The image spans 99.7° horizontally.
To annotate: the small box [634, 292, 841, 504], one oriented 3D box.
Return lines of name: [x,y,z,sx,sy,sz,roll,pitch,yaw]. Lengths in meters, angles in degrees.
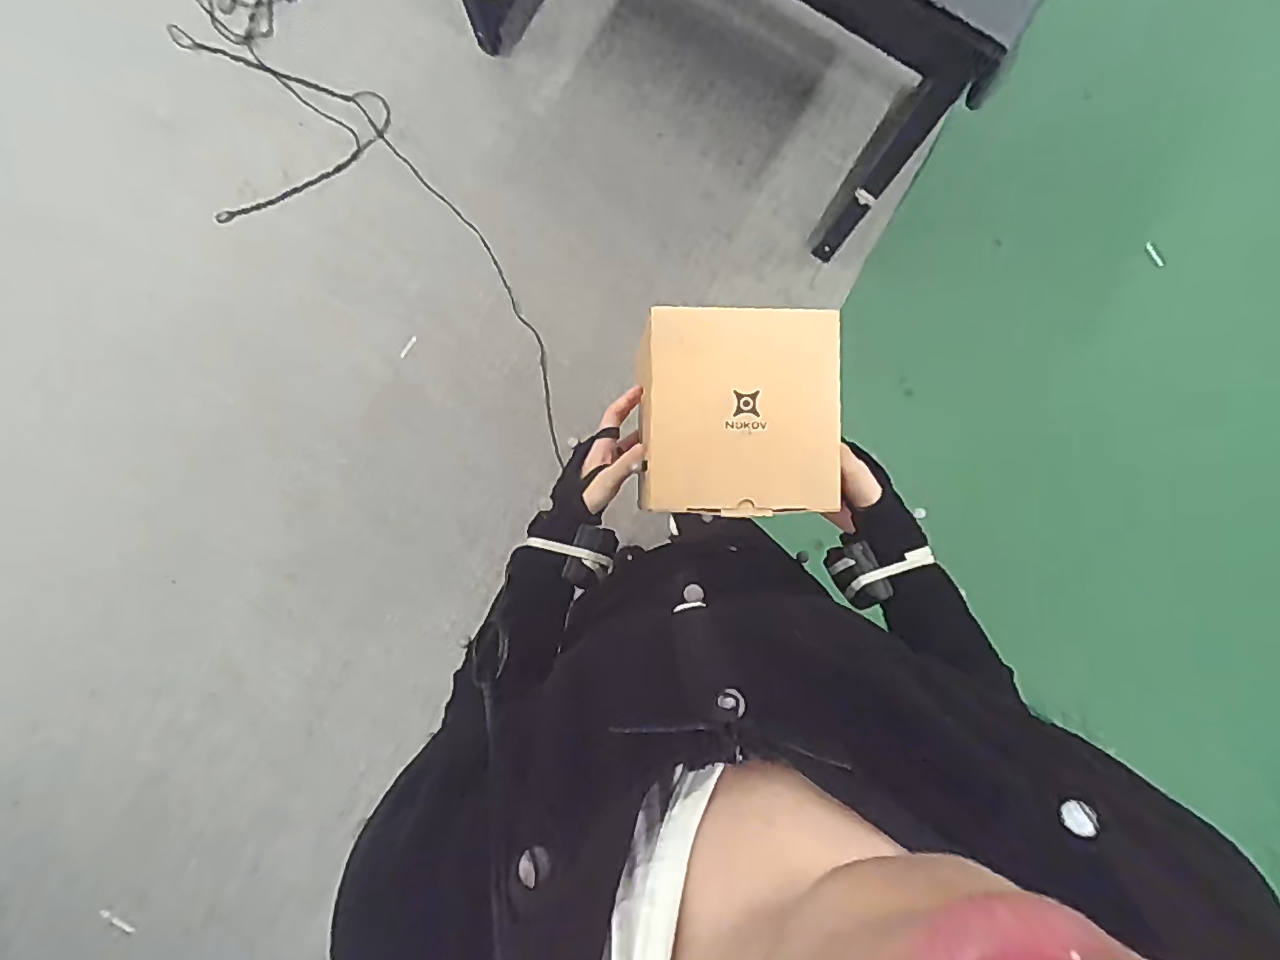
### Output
small box: [0.080,-0.065,0.528,0.168,0.176,0.179,0,88,-3]
